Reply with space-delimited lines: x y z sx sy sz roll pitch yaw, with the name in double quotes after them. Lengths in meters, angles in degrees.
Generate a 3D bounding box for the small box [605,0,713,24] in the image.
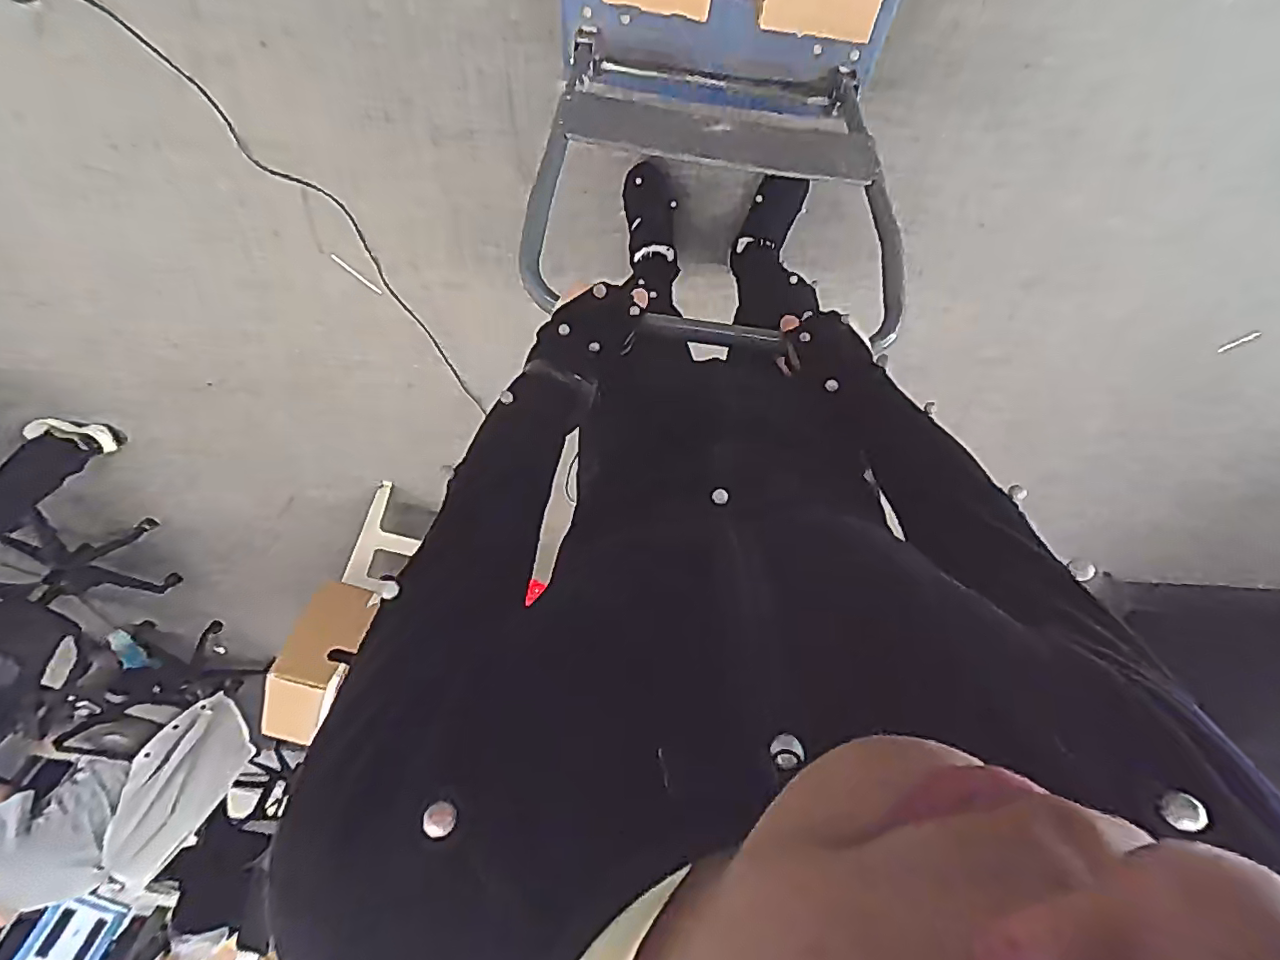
0.042 -0.826 0.802 0.168 0.176 0.179 8 145 -4 "small box"
